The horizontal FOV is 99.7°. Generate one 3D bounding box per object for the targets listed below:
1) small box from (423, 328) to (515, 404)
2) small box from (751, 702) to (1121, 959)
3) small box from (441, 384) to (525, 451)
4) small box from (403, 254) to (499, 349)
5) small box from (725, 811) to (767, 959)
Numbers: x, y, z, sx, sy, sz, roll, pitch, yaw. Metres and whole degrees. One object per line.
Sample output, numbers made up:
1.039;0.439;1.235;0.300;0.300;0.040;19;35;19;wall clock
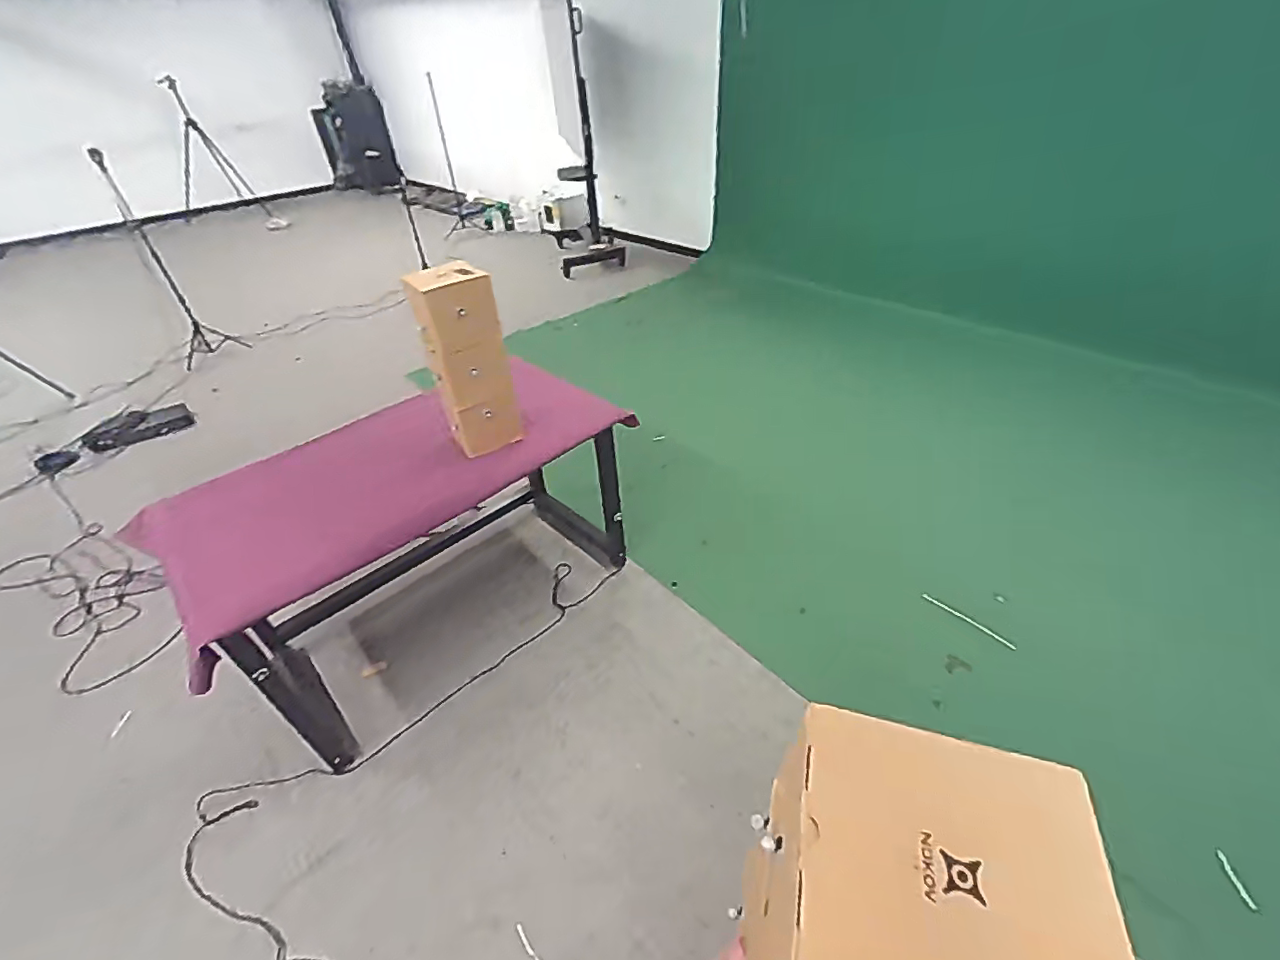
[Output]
-0.473;-0.335;1.508;0.179;0.176;0.168;-28;46;-25;small box
0.182;0.286;0.374;0.179;0.176;0.168;9;46;13;small box
-0.465;-0.209;1.612;0.179;0.176;0.168;-24;44;-23;small box
-0.482;-0.464;1.405;0.179;0.176;0.168;-28;45;-26;small box
0.198;0.511;0.610;0.179;0.176;0.168;10;45;14;small box
